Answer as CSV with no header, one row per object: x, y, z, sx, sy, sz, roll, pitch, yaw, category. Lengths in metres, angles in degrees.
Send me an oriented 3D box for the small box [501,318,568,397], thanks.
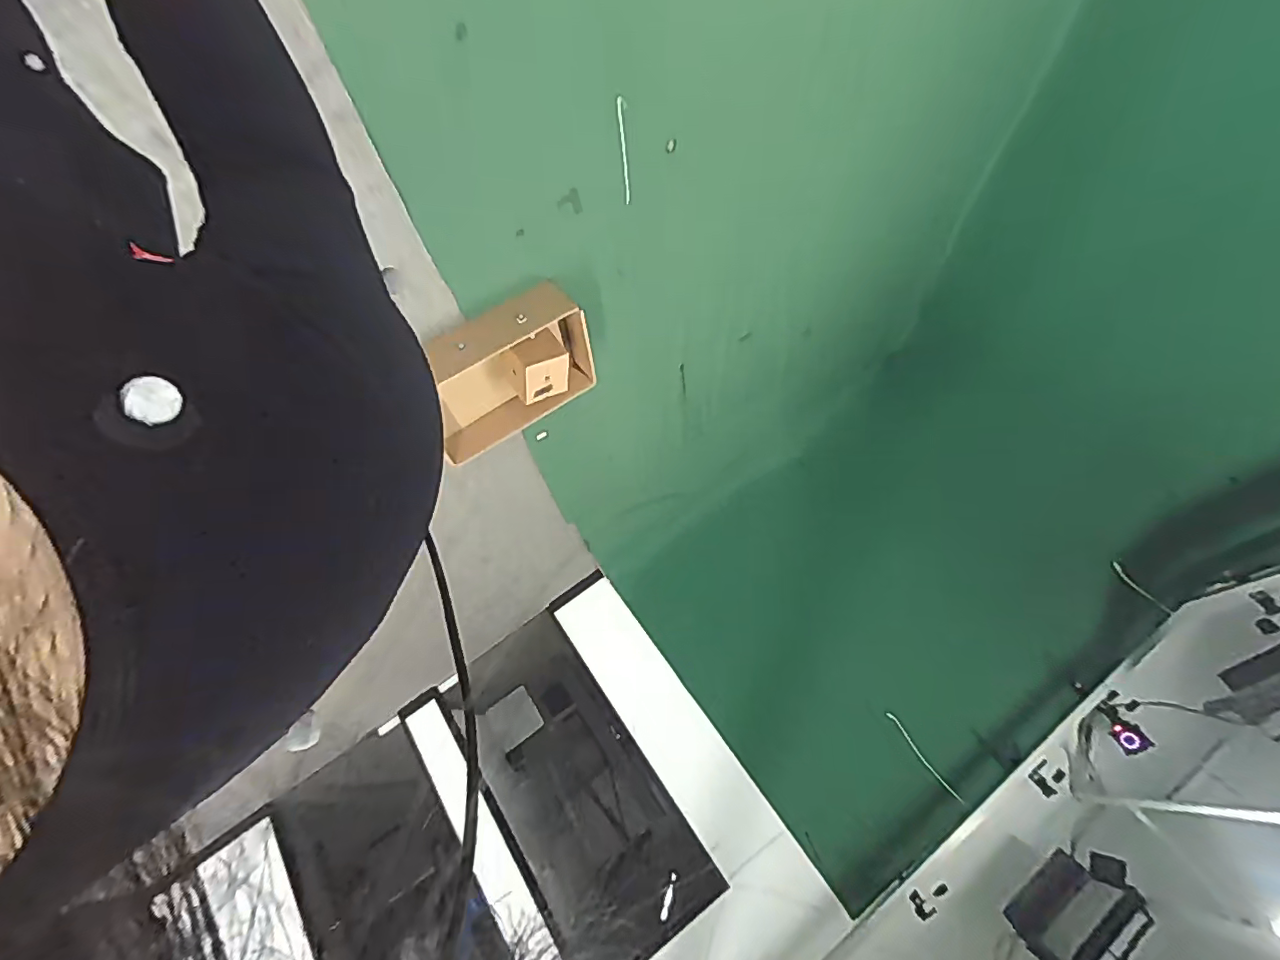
-0.365,-0.420,1.851,0.168,0.176,0.179,-26,153,-26,small box
